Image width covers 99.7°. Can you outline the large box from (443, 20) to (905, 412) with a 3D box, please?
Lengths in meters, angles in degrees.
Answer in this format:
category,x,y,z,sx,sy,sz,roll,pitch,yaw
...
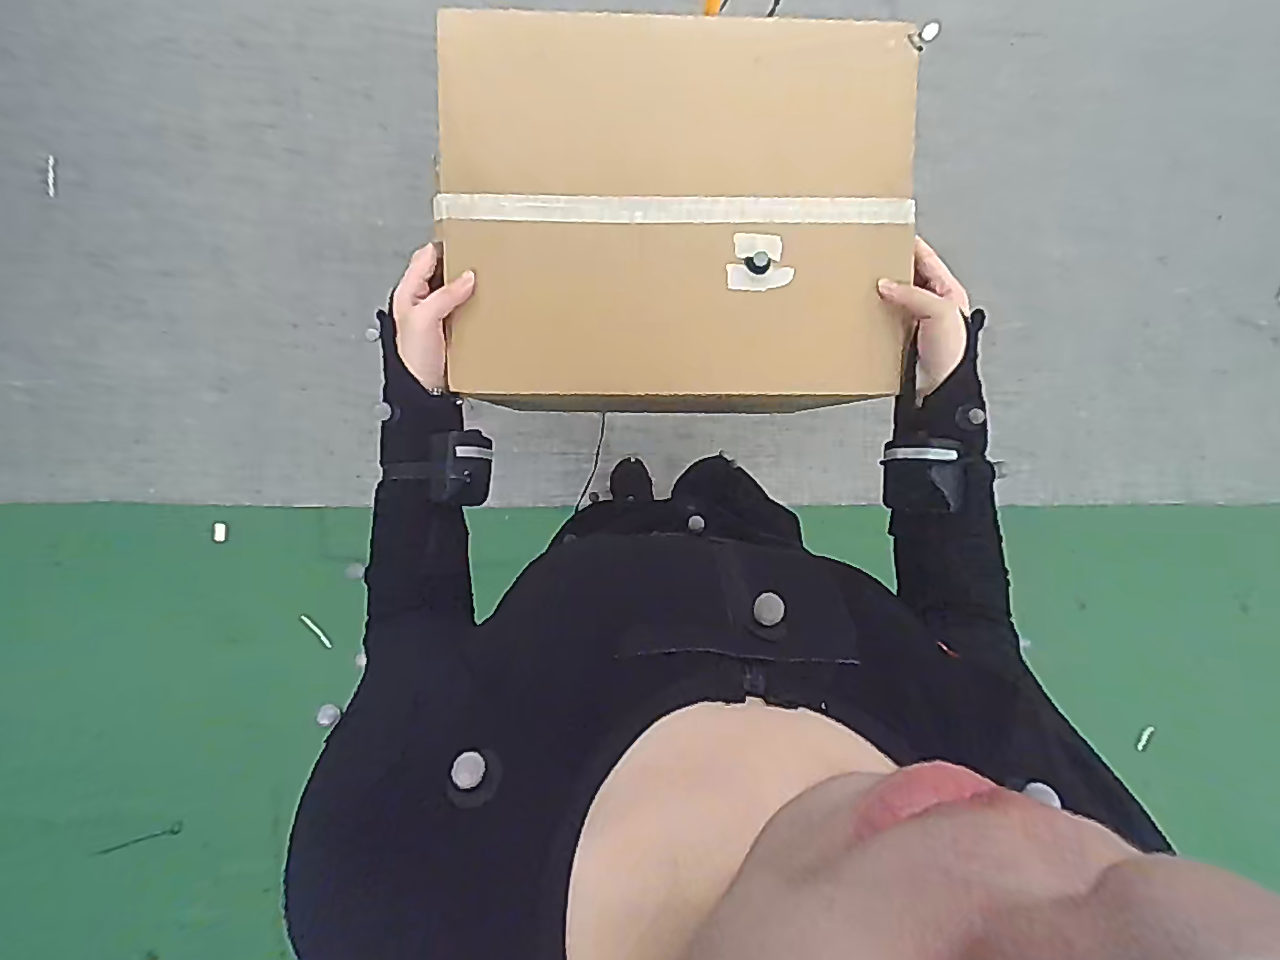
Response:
category,x,y,z,sx,sy,sz,roll,pitch,yaw
large box,0.026,-0.246,0.620,0.408,0.320,0.320,-1,94,-3
